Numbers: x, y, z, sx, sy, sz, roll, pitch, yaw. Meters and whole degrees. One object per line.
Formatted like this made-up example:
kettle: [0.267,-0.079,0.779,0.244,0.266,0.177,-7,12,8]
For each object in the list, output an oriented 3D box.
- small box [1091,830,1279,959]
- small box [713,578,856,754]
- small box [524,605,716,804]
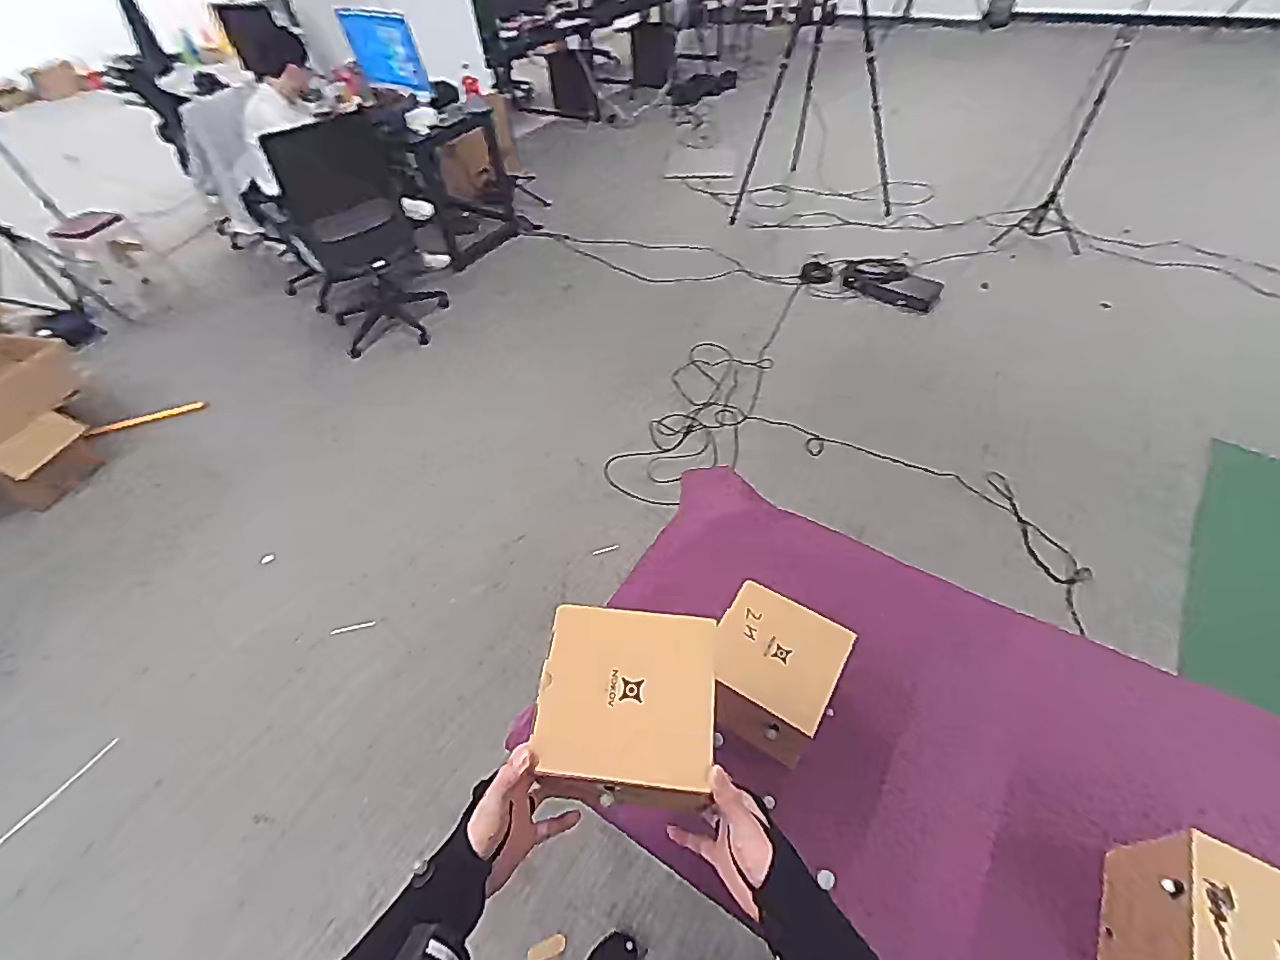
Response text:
small box: [0.641,0.519,0.581,0.179,0.176,0.168,24,56,24]
small box: [0.199,0.289,0.824,0.179,0.176,0.168,25,56,25]
small box: [-0.011,0.255,0.606,0.179,0.176,0.168,3,54,6]
